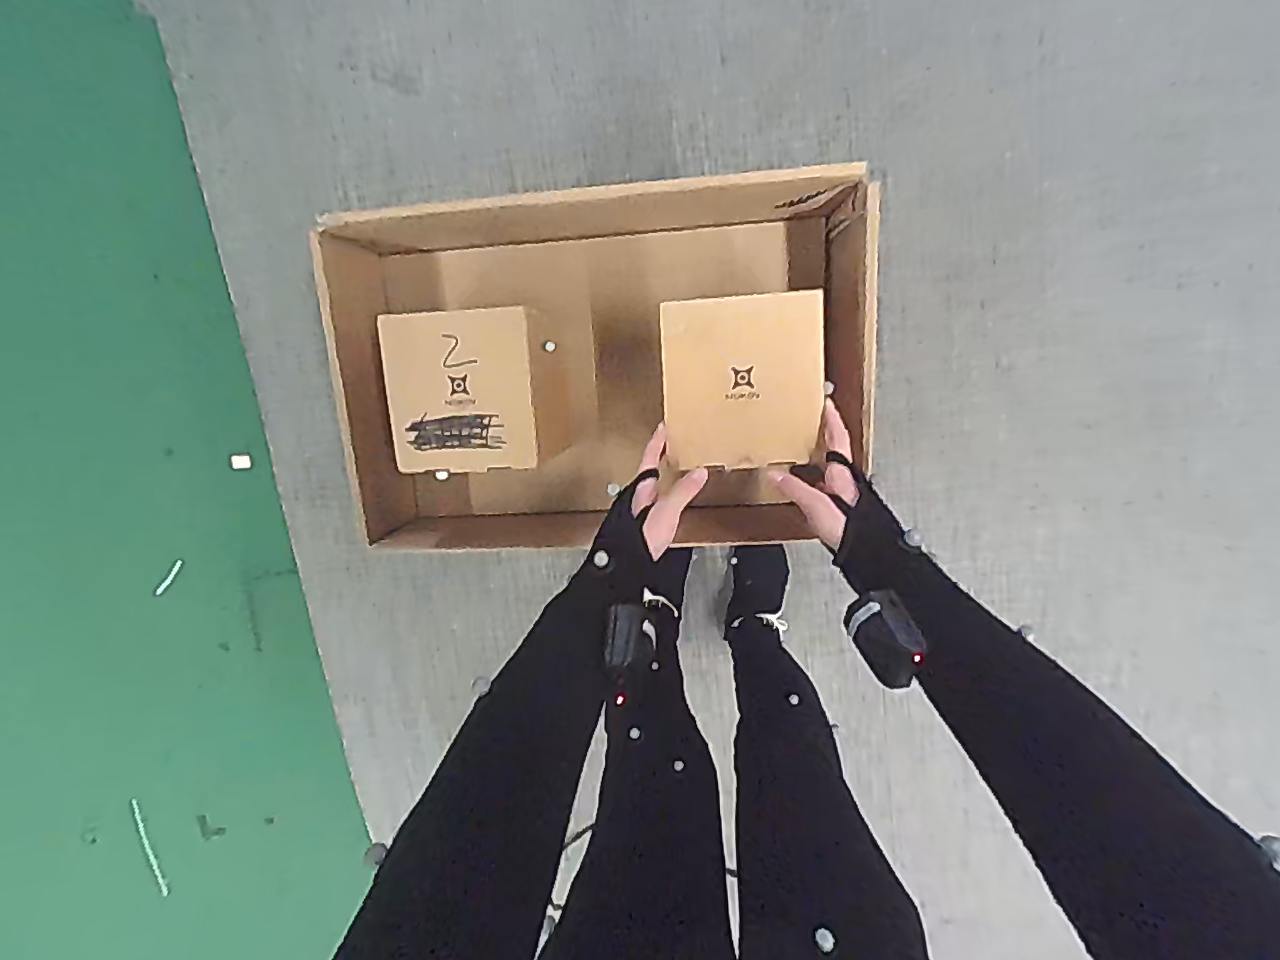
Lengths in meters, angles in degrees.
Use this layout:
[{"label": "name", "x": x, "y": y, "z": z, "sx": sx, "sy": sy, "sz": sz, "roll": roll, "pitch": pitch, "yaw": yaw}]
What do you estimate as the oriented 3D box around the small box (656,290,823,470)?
[{"label": "small box", "x": 0.108, "y": -0.105, "z": 0.630, "sx": 0.168, "sy": 0.176, "sz": 0.179, "roll": -3, "pitch": 94, "yaw": 7}]
